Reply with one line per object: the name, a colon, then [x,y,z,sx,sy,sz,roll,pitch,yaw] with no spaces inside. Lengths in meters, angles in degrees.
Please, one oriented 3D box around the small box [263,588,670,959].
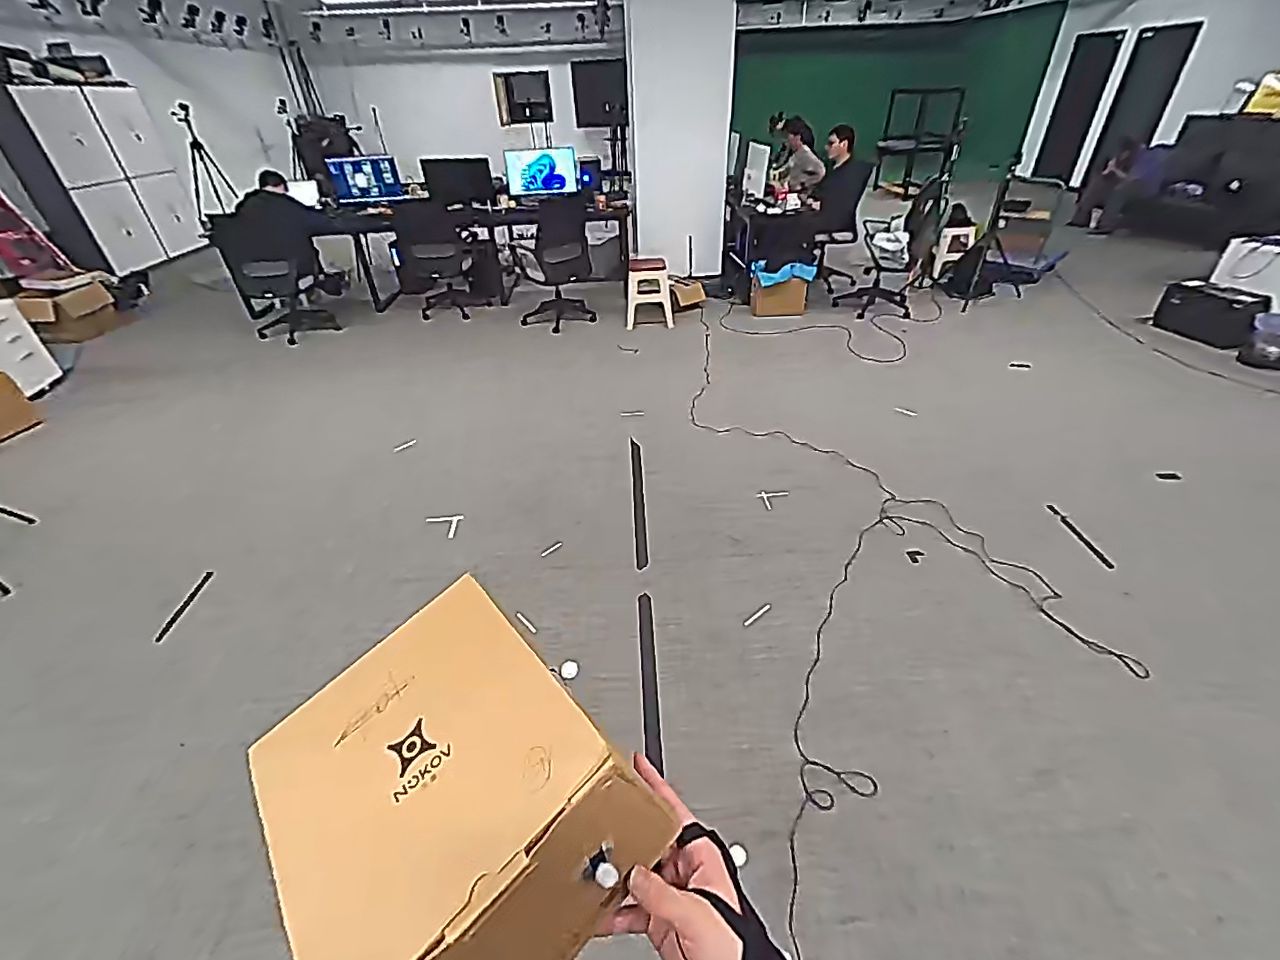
small box: [-0.103,0.214,0.366,0.168,0.176,0.179,-40,46,-20]
